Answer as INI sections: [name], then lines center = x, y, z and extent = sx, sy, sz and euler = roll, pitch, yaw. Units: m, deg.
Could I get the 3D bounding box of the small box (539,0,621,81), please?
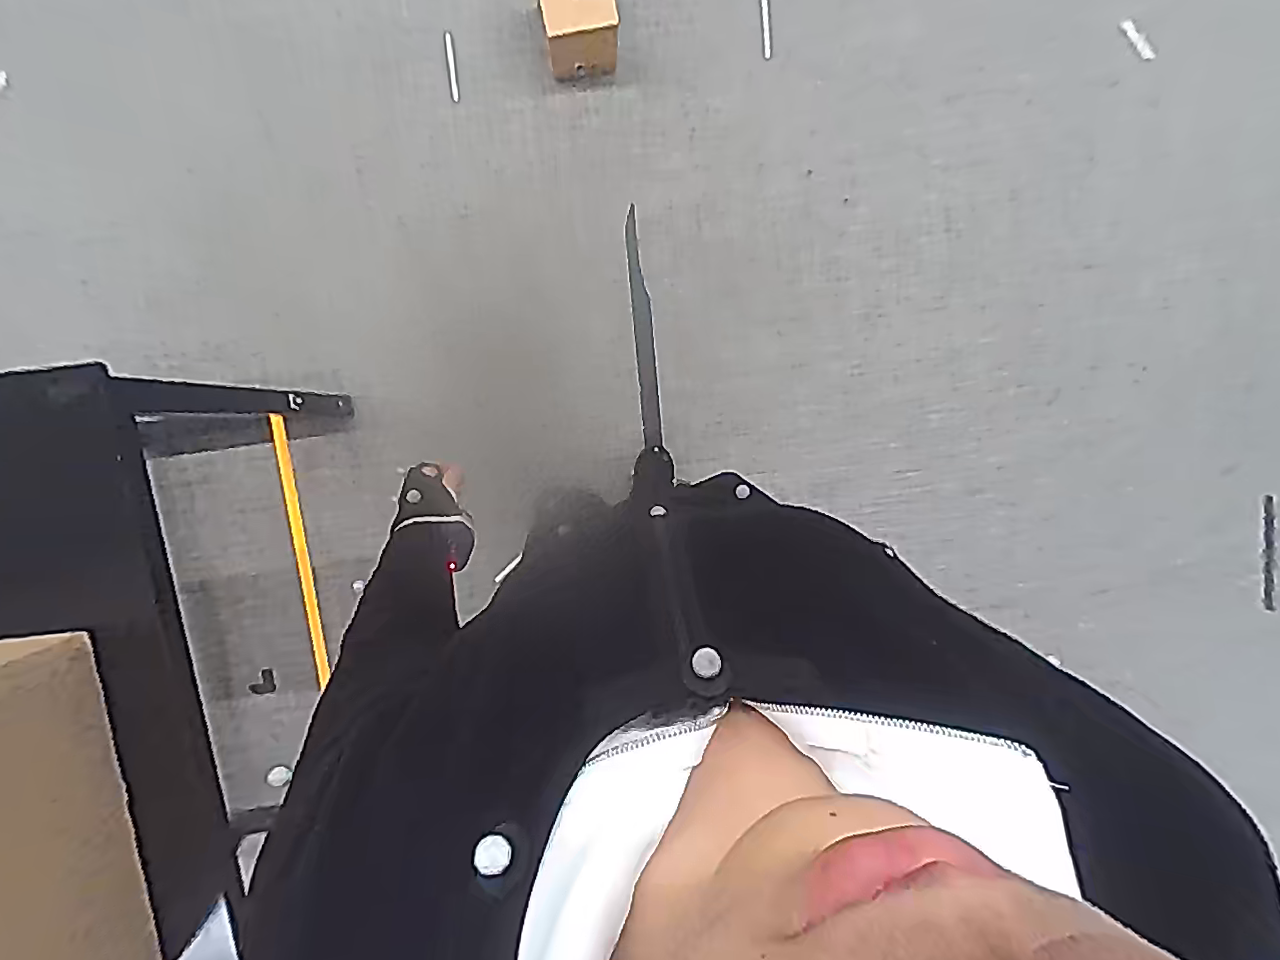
[small box]
center = -0.145, -1.092, 1.272
extent = 0.168, 0.176, 0.179
euler = -13, 98, -1
